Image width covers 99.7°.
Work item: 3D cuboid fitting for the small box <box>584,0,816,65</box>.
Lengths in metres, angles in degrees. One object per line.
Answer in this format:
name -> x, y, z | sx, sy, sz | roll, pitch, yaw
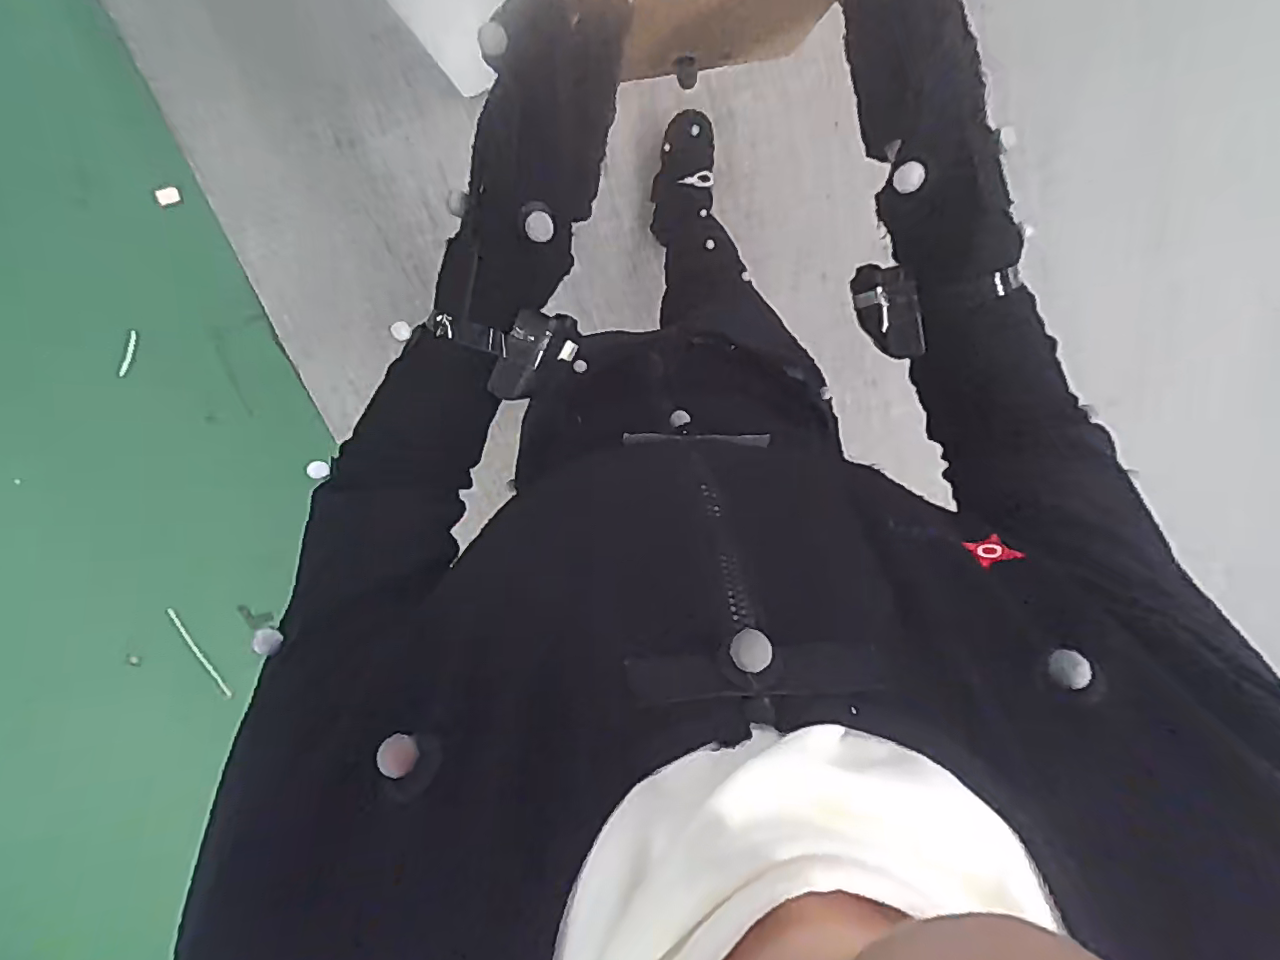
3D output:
small box -> 0.035, -0.391, 0.321 | 0.168, 0.176, 0.179 | -10, 112, 2
